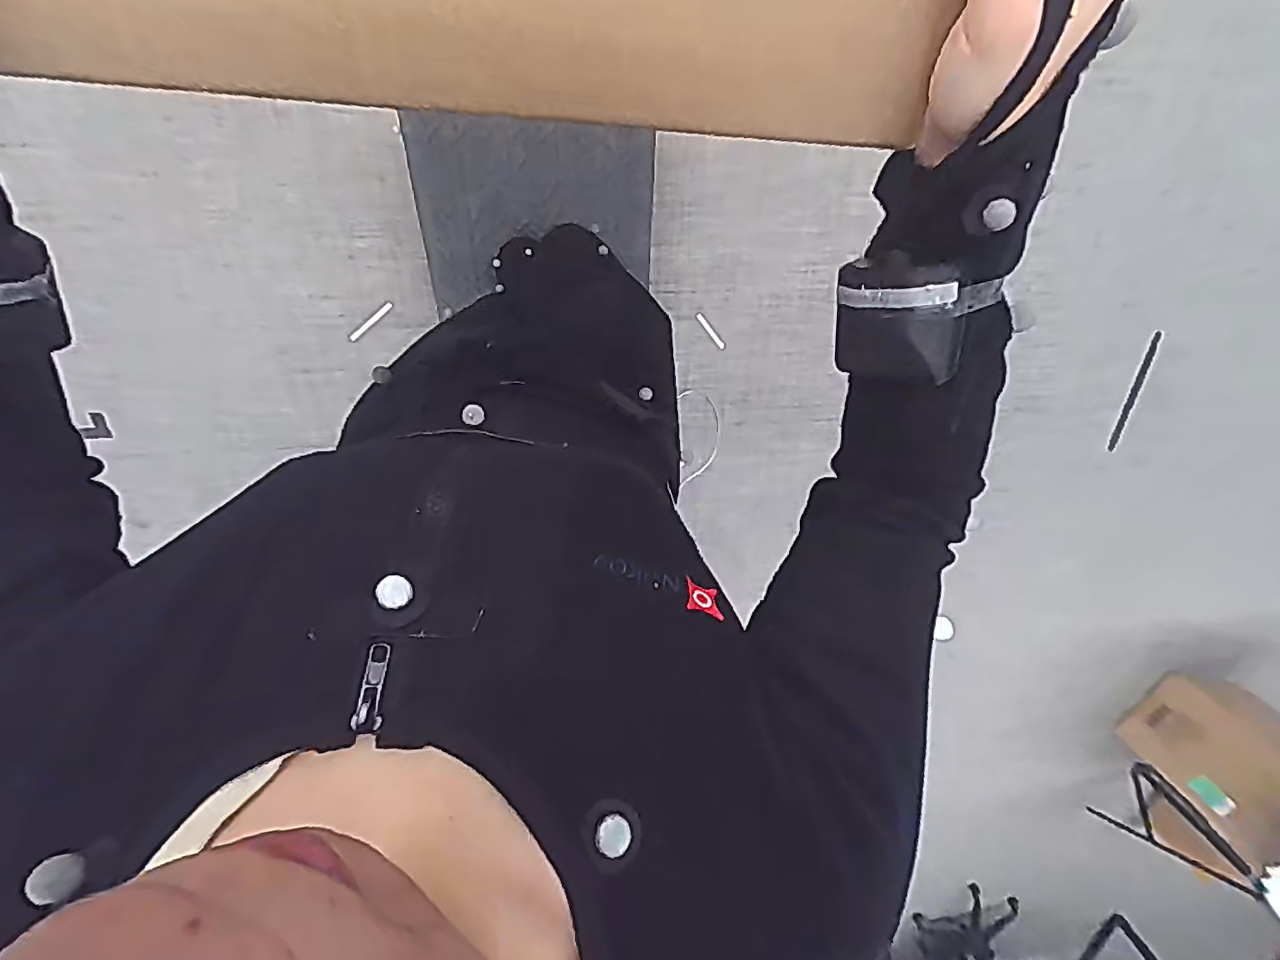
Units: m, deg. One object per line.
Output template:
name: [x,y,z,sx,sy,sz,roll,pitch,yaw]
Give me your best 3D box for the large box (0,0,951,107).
large box: [-0.071,-0.385,0.228,0.408,0.320,0.320,0,136,-7]
